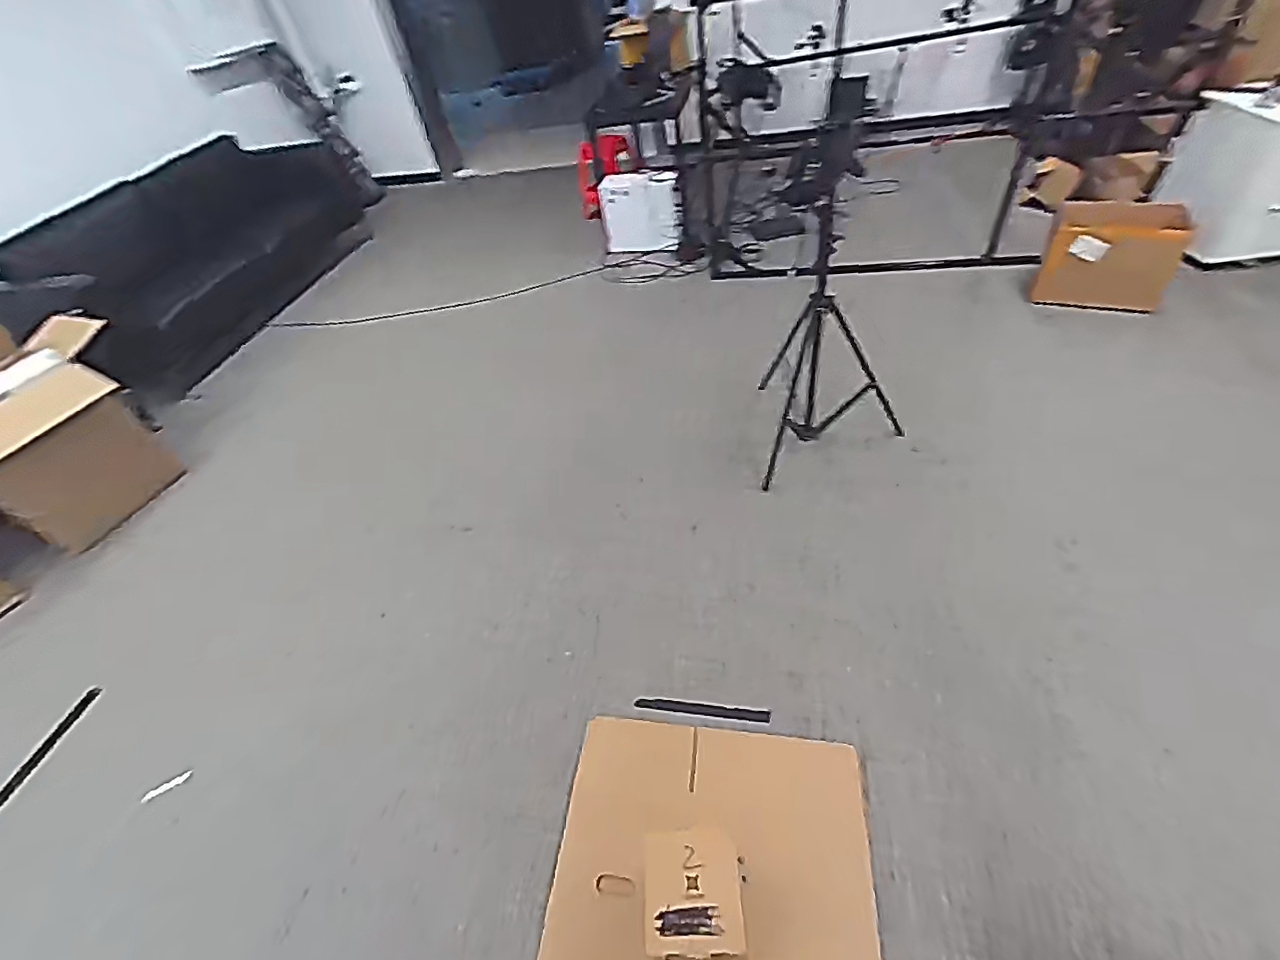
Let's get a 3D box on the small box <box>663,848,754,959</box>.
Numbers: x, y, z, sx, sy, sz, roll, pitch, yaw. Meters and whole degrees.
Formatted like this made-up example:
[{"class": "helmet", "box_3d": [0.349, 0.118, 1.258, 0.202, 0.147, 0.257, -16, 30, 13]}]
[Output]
[{"class": "small box", "box_3d": [0.139, 0.865, 1.094, 0.168, 0.176, 0.179, -7, 46, 9]}]
